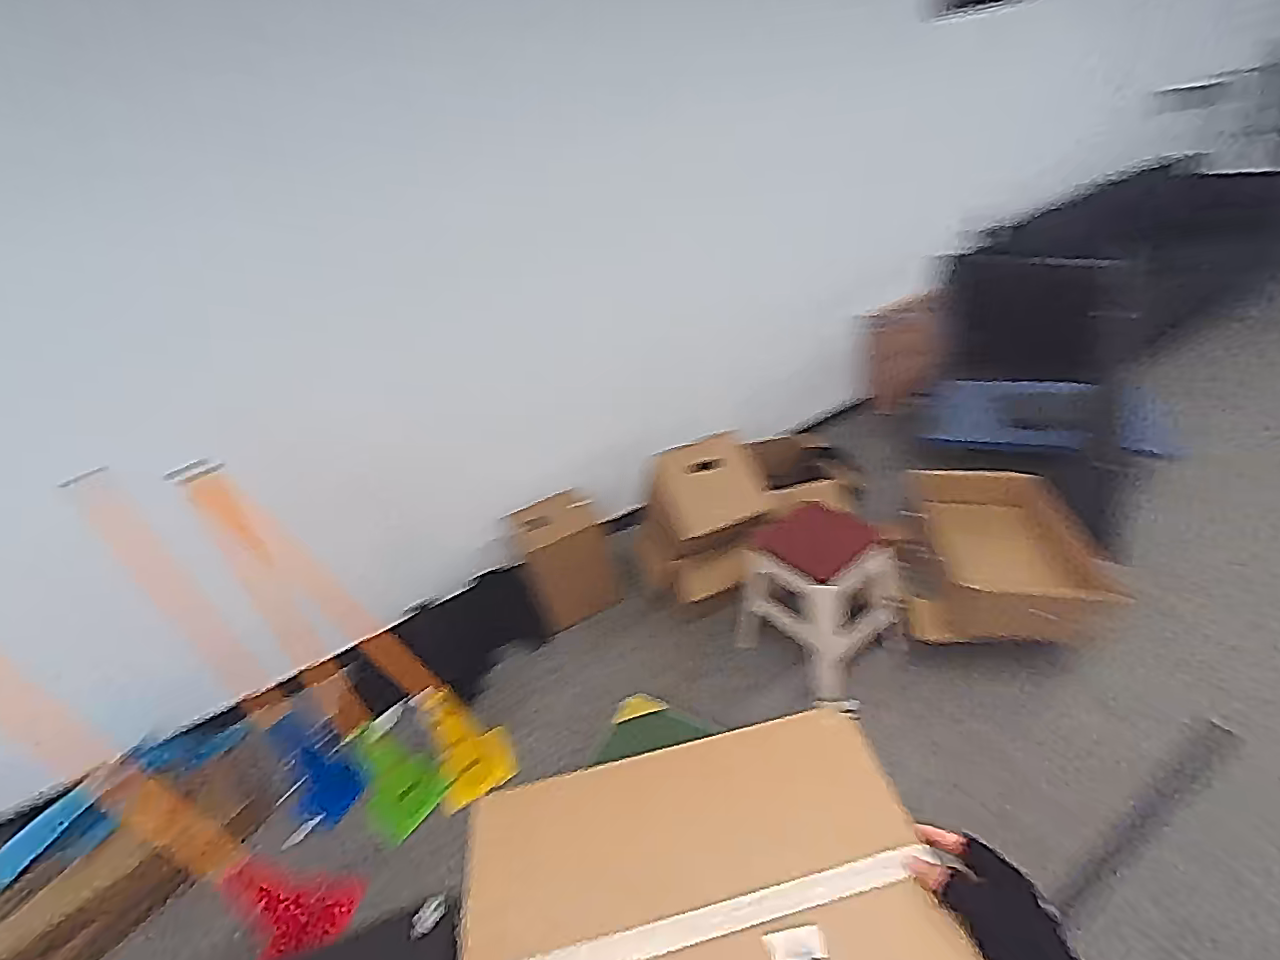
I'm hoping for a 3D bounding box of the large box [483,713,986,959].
[{"bbox_3d":[0.081,0.502,0.537,0.408,0.320,0.320,-11,33,-5],"label":"large box"}]
